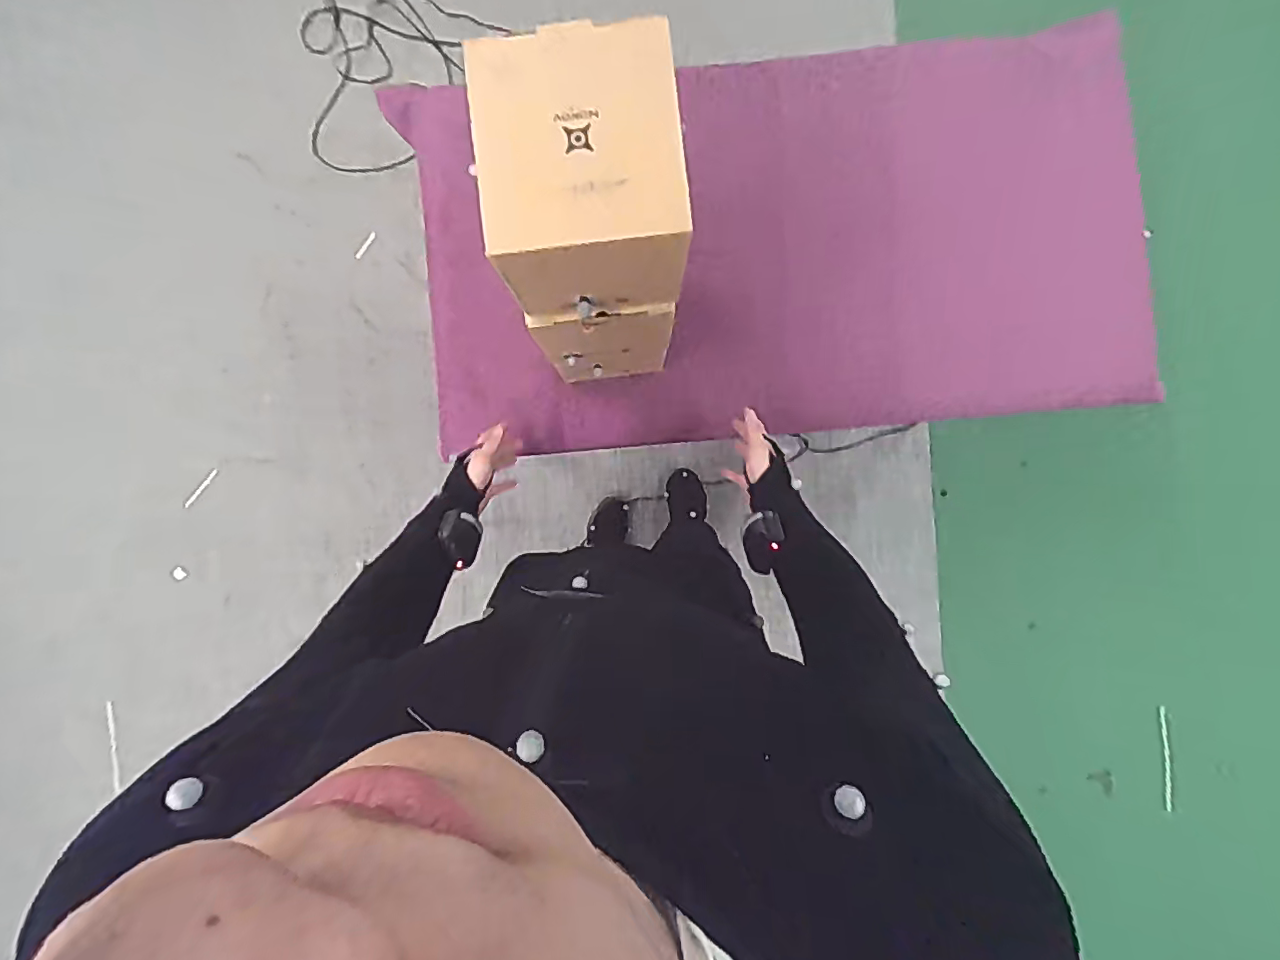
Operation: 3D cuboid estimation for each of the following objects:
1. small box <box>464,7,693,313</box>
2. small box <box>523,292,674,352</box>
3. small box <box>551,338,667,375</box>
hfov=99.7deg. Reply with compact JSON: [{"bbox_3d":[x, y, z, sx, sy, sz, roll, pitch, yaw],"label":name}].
[{"bbox_3d":[-0.048,-0.272,0.497,0.168,0.176,0.179,-6,90,1],"label":"small box"},{"bbox_3d":[-0.050,-0.263,0.660,0.168,0.176,0.179,-7,89,0],"label":"small box"},{"bbox_3d":[-0.050,-0.264,0.824,0.168,0.176,0.179,-8,90,0],"label":"small box"}]
